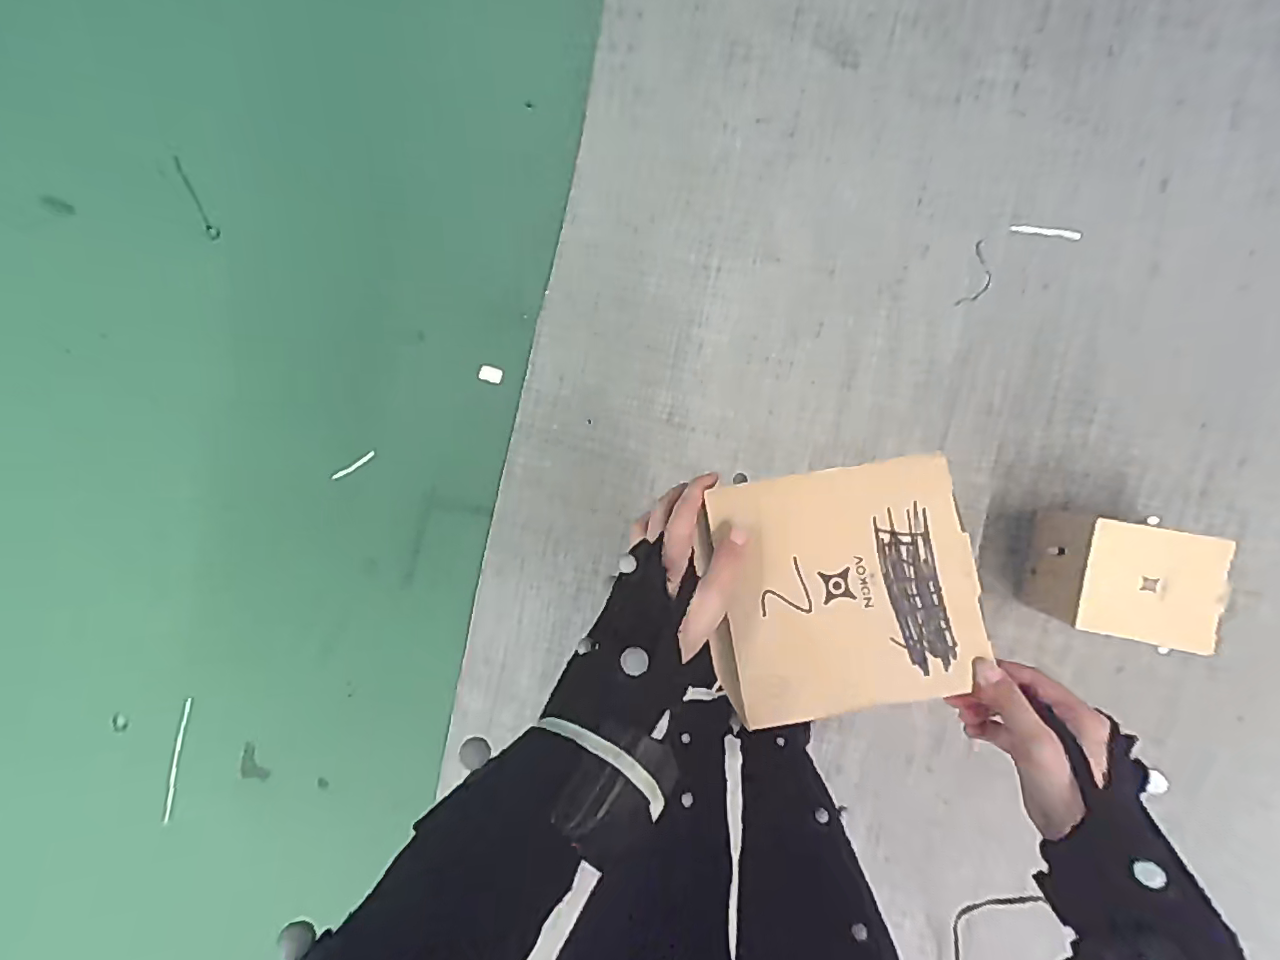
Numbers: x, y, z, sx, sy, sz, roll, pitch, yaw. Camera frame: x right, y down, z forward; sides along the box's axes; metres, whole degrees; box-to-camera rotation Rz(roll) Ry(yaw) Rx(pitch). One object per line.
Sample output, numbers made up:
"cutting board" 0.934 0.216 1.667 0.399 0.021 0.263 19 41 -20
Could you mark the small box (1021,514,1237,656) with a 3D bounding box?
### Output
"small box" 0.728 0.148 0.830 0.179 0.176 0.168 10 92 10
